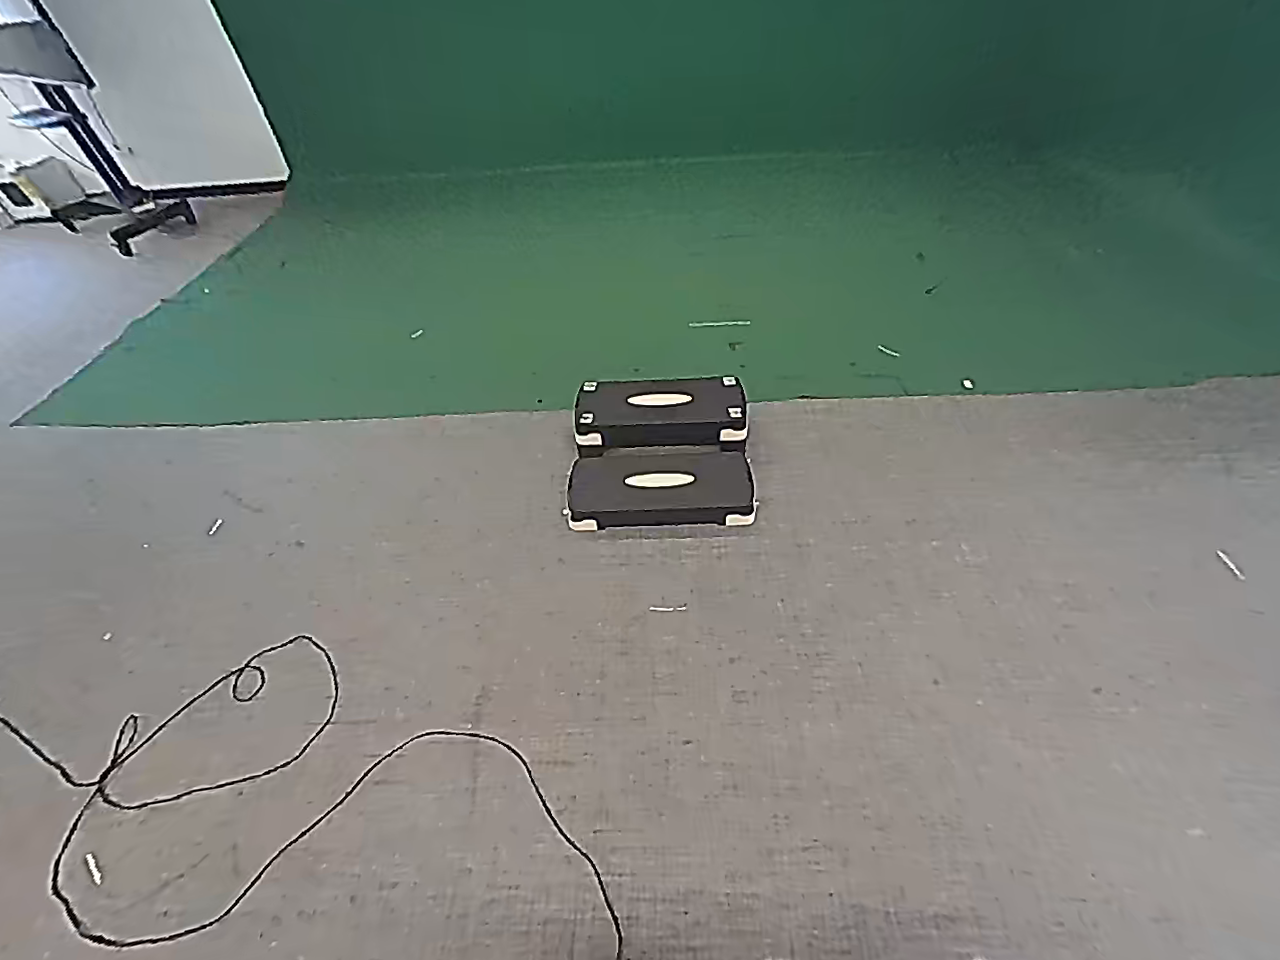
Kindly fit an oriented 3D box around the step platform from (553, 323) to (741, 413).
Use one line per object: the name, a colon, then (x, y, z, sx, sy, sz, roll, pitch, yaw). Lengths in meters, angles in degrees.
step platform: (0.028, -0.418, 2.032, 0.684, 0.204, 0.286, -2, 47, 3)
